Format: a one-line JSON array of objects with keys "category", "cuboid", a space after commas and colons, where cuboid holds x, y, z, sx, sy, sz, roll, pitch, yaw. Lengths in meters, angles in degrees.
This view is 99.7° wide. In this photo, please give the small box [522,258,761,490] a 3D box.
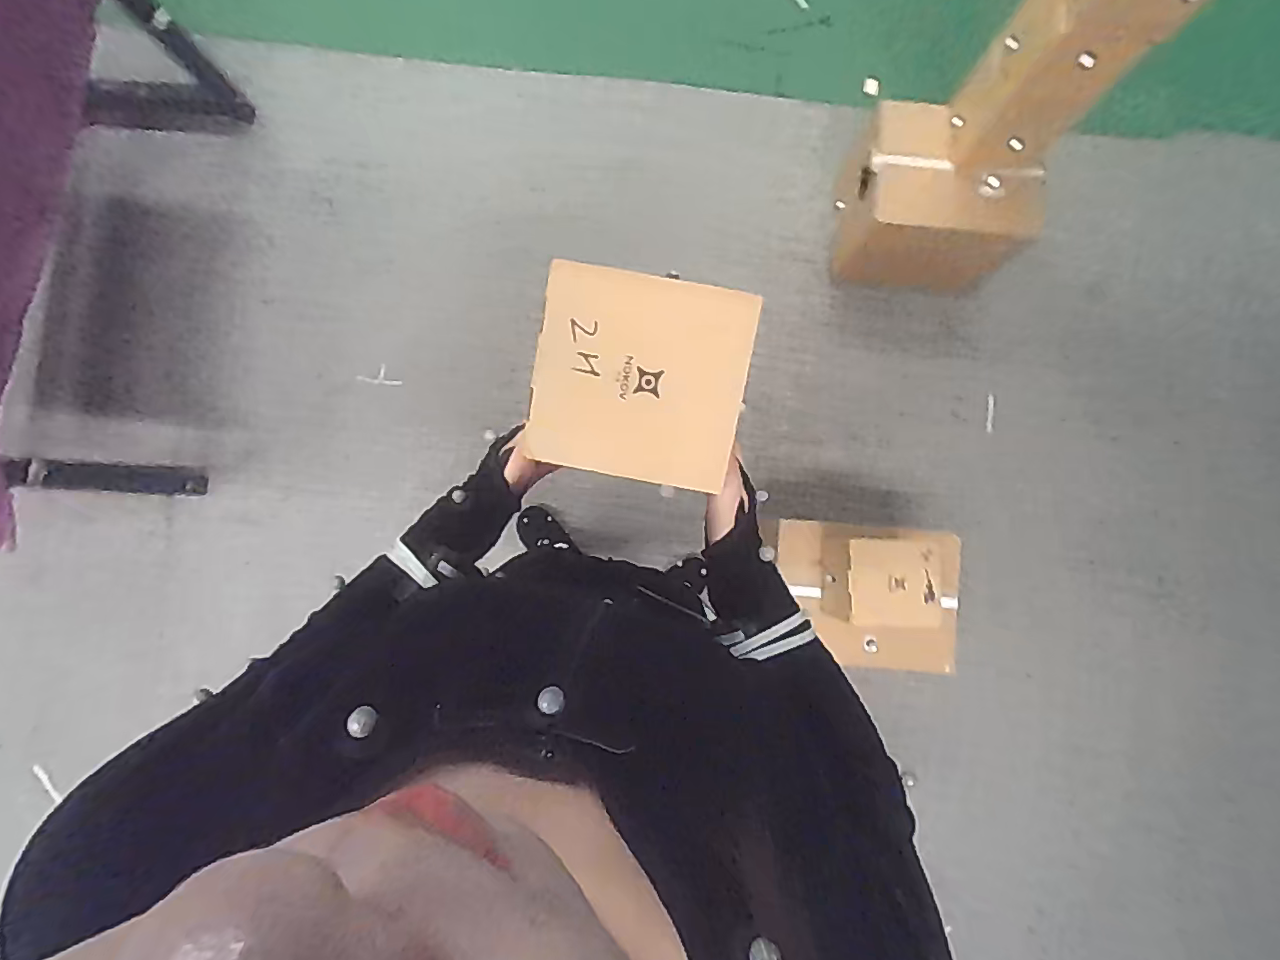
[{"category": "small box", "cuboid": [0.003, -0.098, 0.528, 0.179, 0.176, 0.168, 11, 98, 2]}]

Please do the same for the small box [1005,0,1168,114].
[{"category": "small box", "cuboid": [0.839, -0.836, 1.027, 0.179, 0.176, 0.168, 6, 82, 2]}]

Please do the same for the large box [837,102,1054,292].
[{"category": "large box", "cuboid": [0.775, -0.722, 1.427, 0.408, 0.320, 0.320, 6, 85, 0]}]

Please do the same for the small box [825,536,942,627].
[{"category": "small box", "cuboid": [0.491, 0.204, 1.113, 0.179, 0.176, 0.168, 3, 84, 1]}]

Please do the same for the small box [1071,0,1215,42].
[{"category": "small box", "cuboid": [0.845, -0.851, 0.865, 0.179, 0.176, 0.168, 8, 82, 2]}]
